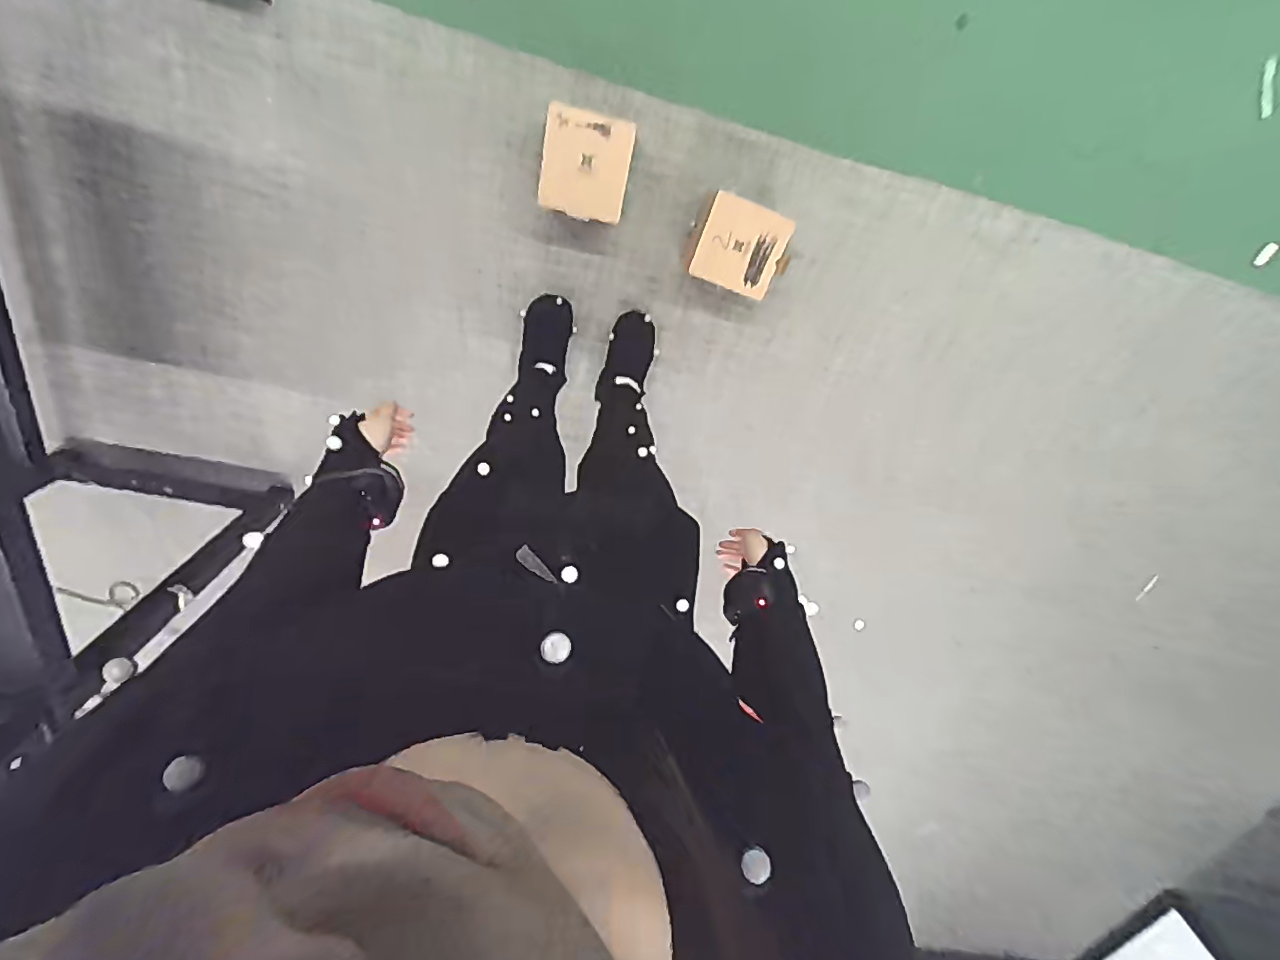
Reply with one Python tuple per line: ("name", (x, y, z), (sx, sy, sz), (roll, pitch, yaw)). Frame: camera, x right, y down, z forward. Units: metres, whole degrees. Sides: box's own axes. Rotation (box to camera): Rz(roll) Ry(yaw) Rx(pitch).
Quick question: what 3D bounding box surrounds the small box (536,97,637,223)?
("small box", (-0.102, -0.629, 1.076), (0.168, 0.176, 0.179), (11, 118, -7))
